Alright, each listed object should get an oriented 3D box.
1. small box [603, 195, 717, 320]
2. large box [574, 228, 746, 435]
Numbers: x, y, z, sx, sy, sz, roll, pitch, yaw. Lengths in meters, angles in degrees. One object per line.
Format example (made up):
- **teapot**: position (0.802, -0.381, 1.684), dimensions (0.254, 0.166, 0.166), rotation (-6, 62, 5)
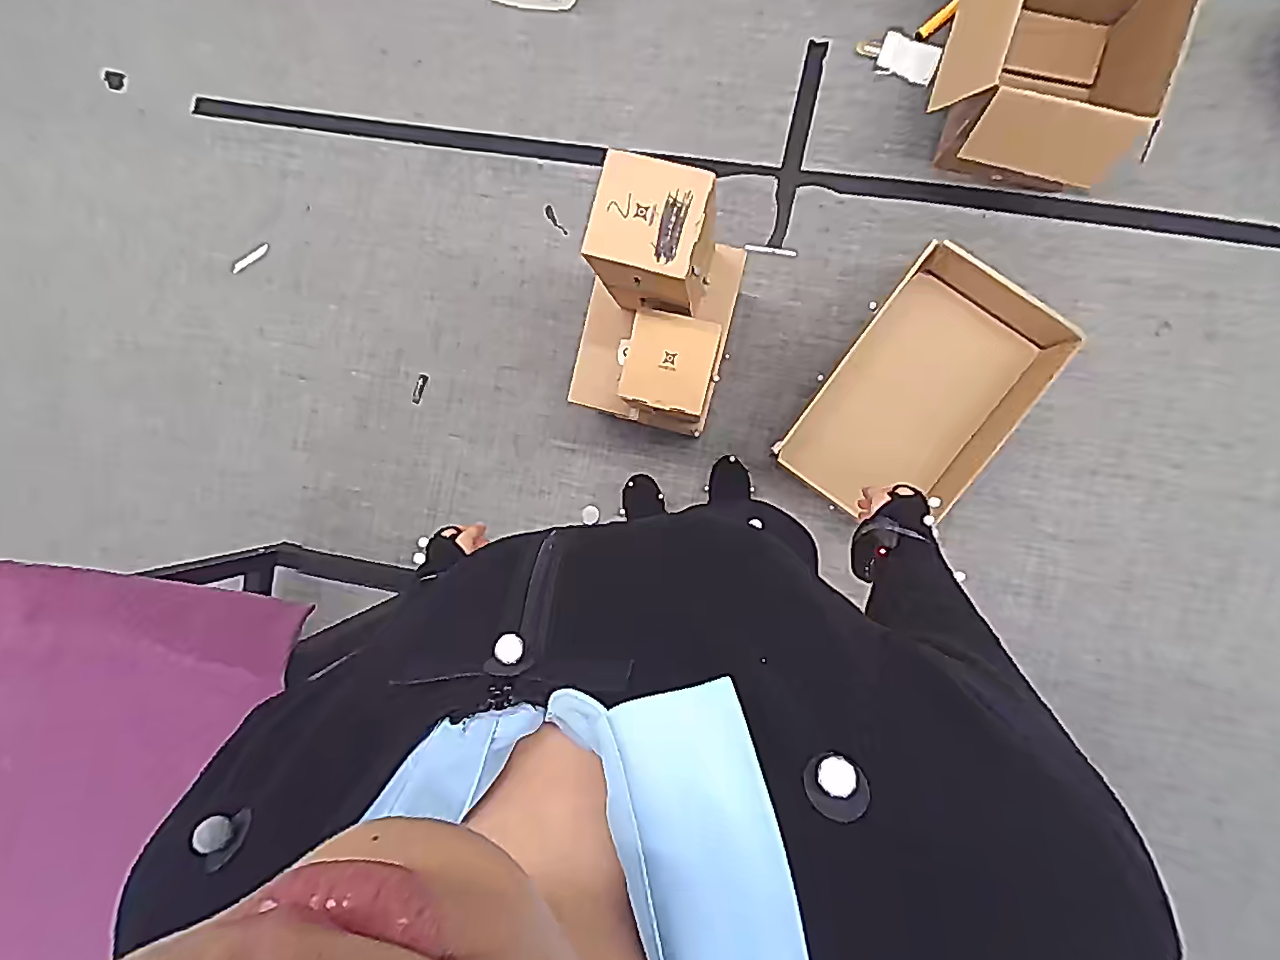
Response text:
- **small box**: position (0.045, -0.429, 1.071), dimensions (0.179, 0.176, 0.168), rotation (17, 97, 6)
- **large box**: position (0.058, -0.338, 1.323), dimensions (0.320, 0.320, 0.408), rotation (14, 96, 7)
